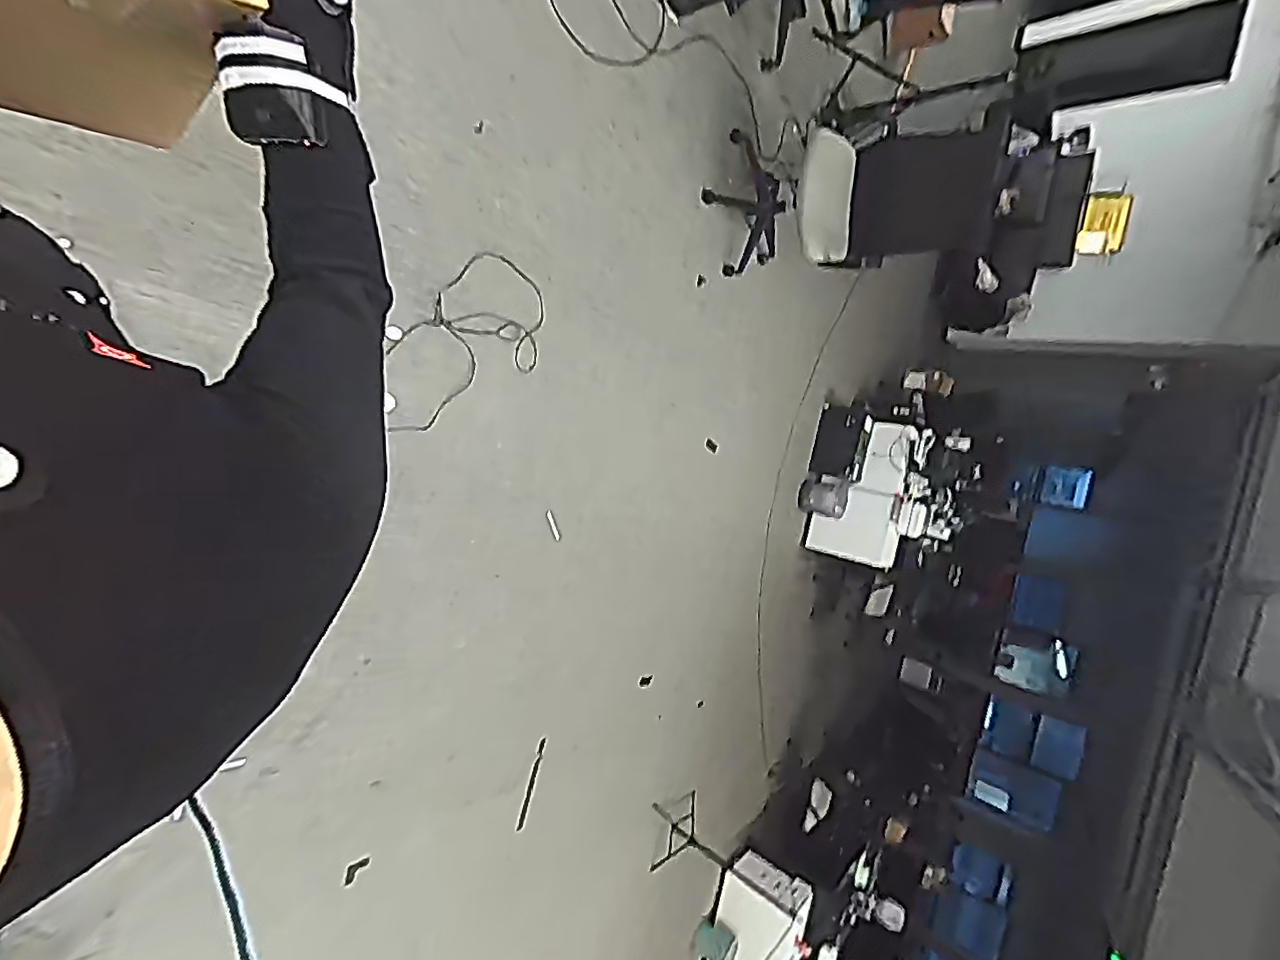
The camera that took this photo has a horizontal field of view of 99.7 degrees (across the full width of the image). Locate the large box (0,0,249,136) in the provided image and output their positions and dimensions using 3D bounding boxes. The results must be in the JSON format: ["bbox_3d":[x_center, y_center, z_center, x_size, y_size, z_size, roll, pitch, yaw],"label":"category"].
[{"bbox_3d":[-0.496,-0.445,0.275,0.408,0.320,0.320,-13,106,-48],"label":"large box"}]
